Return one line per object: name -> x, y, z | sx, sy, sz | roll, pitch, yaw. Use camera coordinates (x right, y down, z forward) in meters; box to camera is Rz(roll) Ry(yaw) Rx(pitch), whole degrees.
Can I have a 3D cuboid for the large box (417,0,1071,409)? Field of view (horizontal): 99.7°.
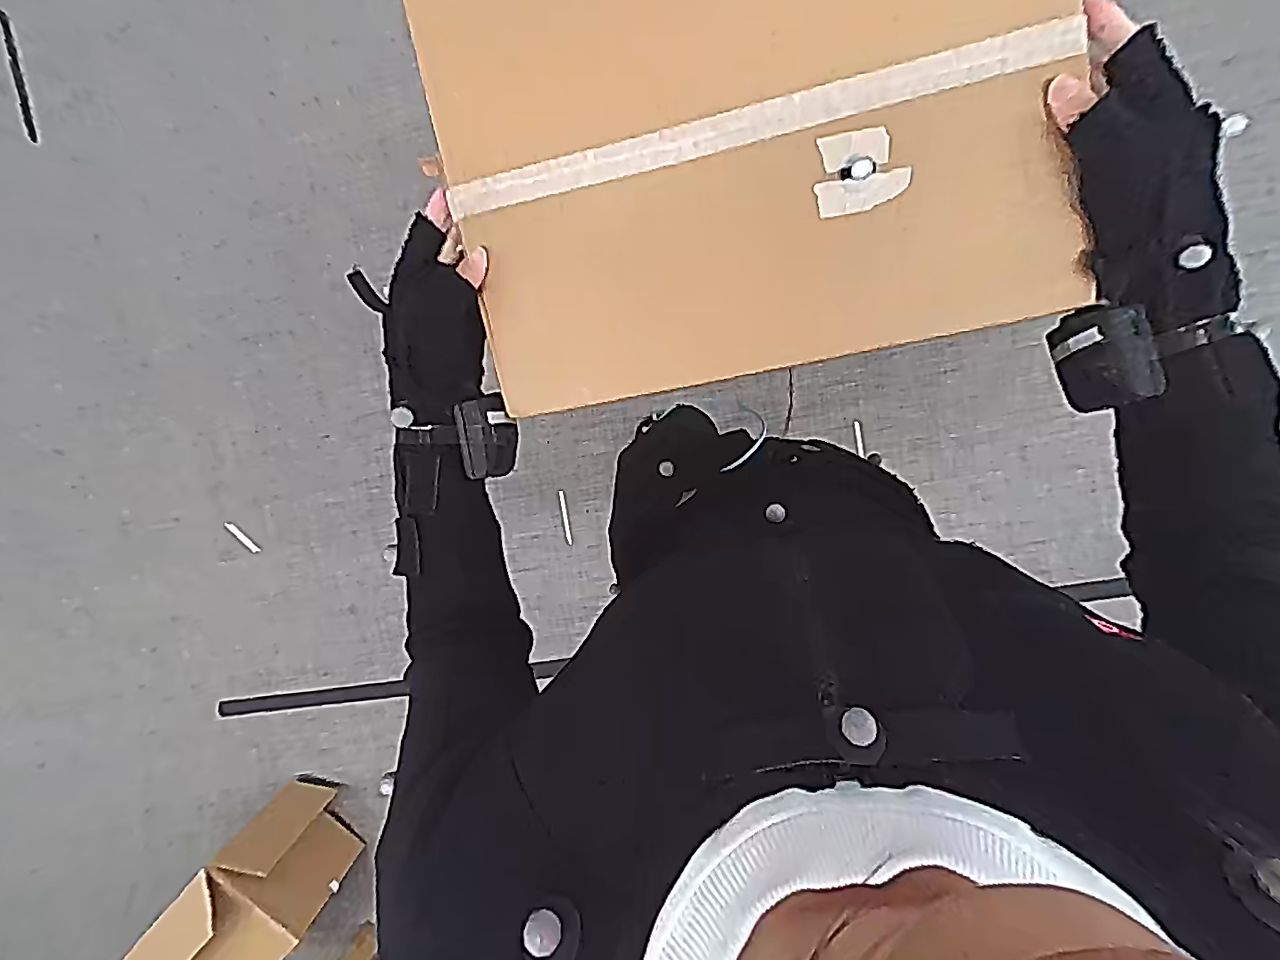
large box -> 0.081, -0.268, 0.510 | 0.408, 0.320, 0.320 | -10, 102, 7
